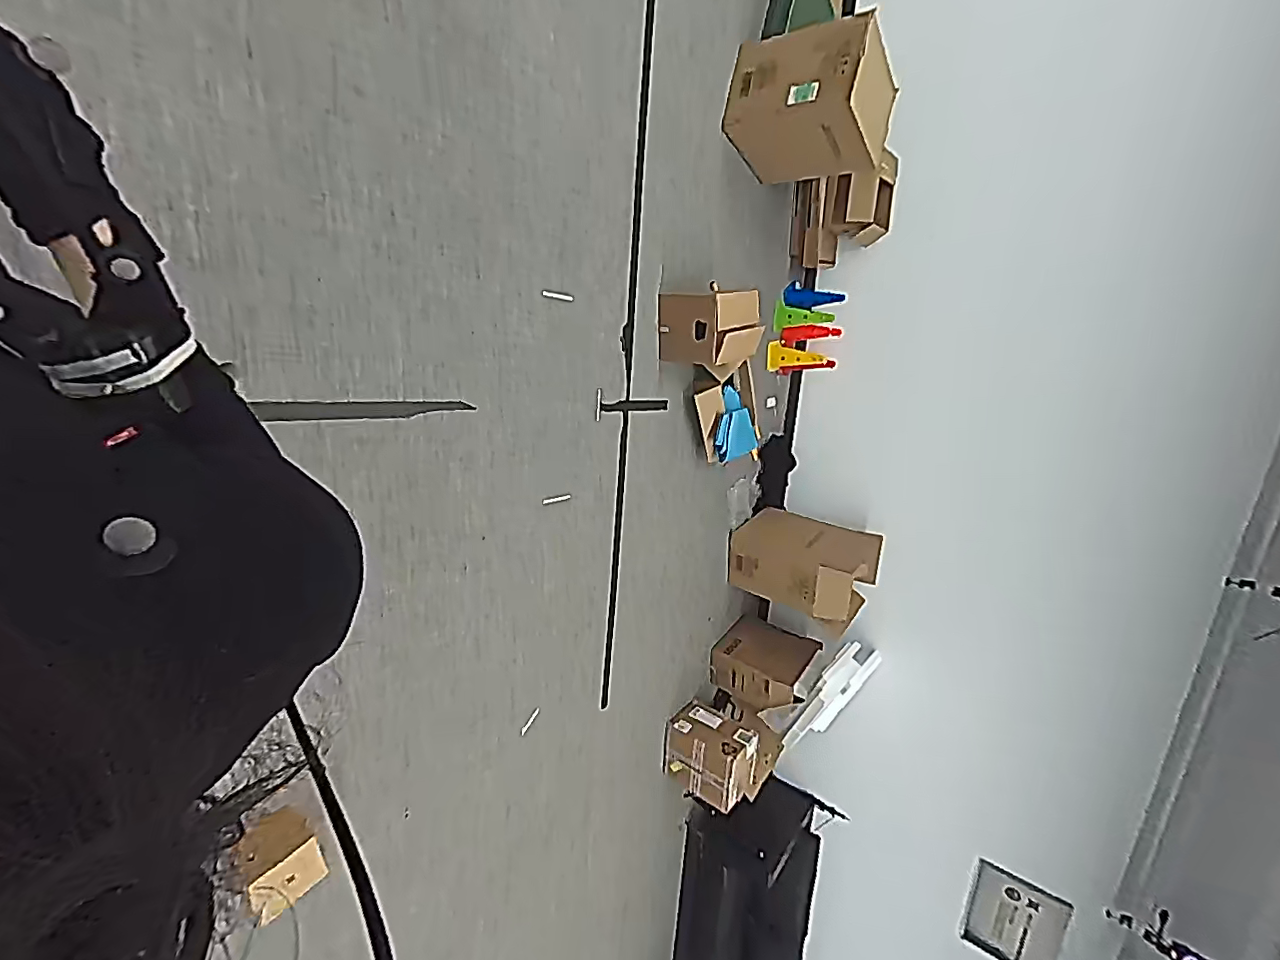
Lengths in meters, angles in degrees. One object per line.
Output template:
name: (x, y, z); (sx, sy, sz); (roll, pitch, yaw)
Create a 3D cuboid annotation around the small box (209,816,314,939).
small box: (-1.044, 1.082, 1.486); (0.179, 0.176, 0.168); (-30, 126, -48)
